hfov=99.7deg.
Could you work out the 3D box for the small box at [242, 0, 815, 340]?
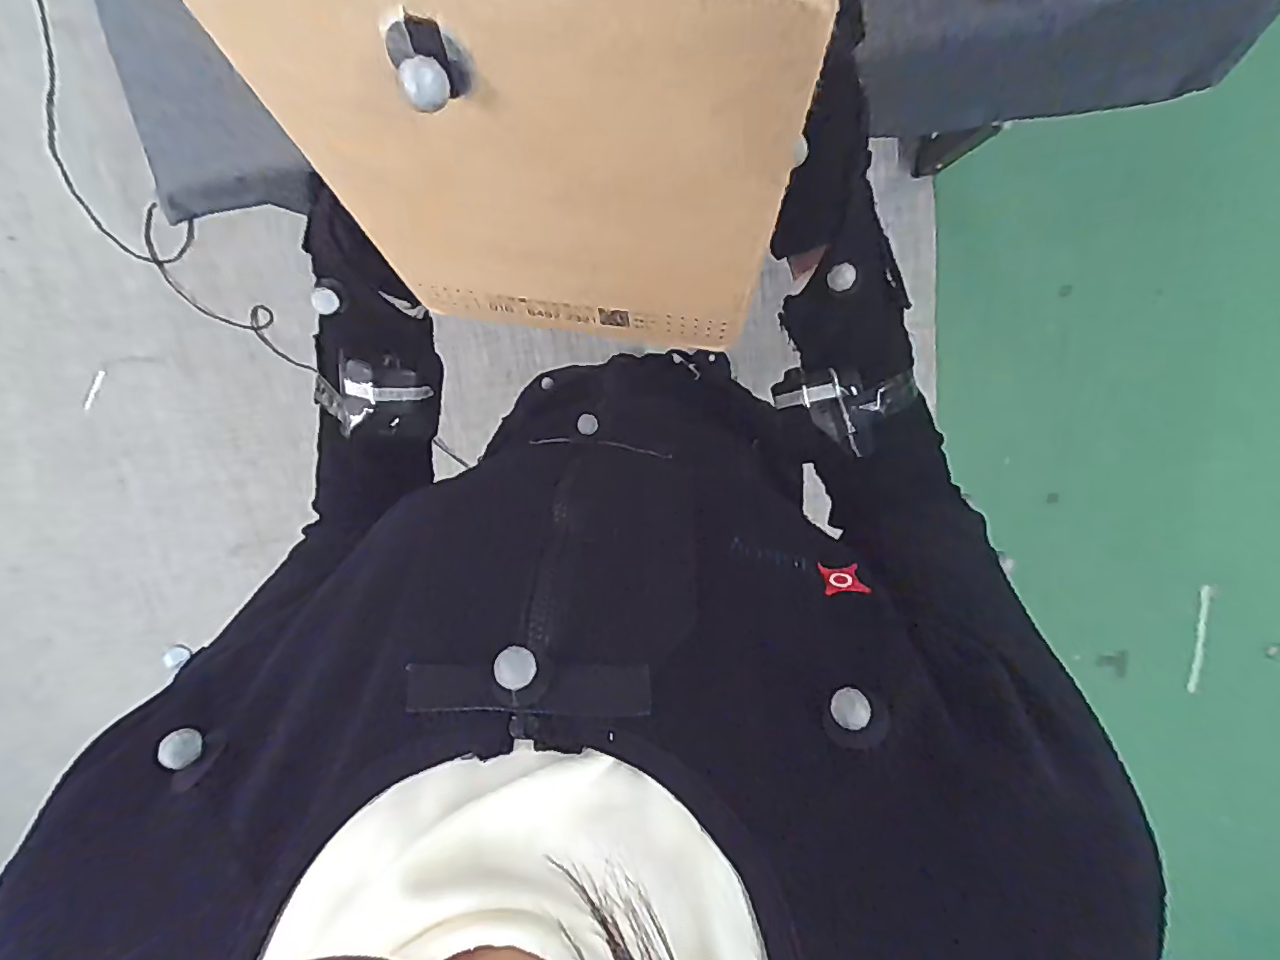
[{"bbox_3d":[-0.025,-0.185,0.225,0.168,0.176,0.179,9,77,3],"label":"small box"}]
